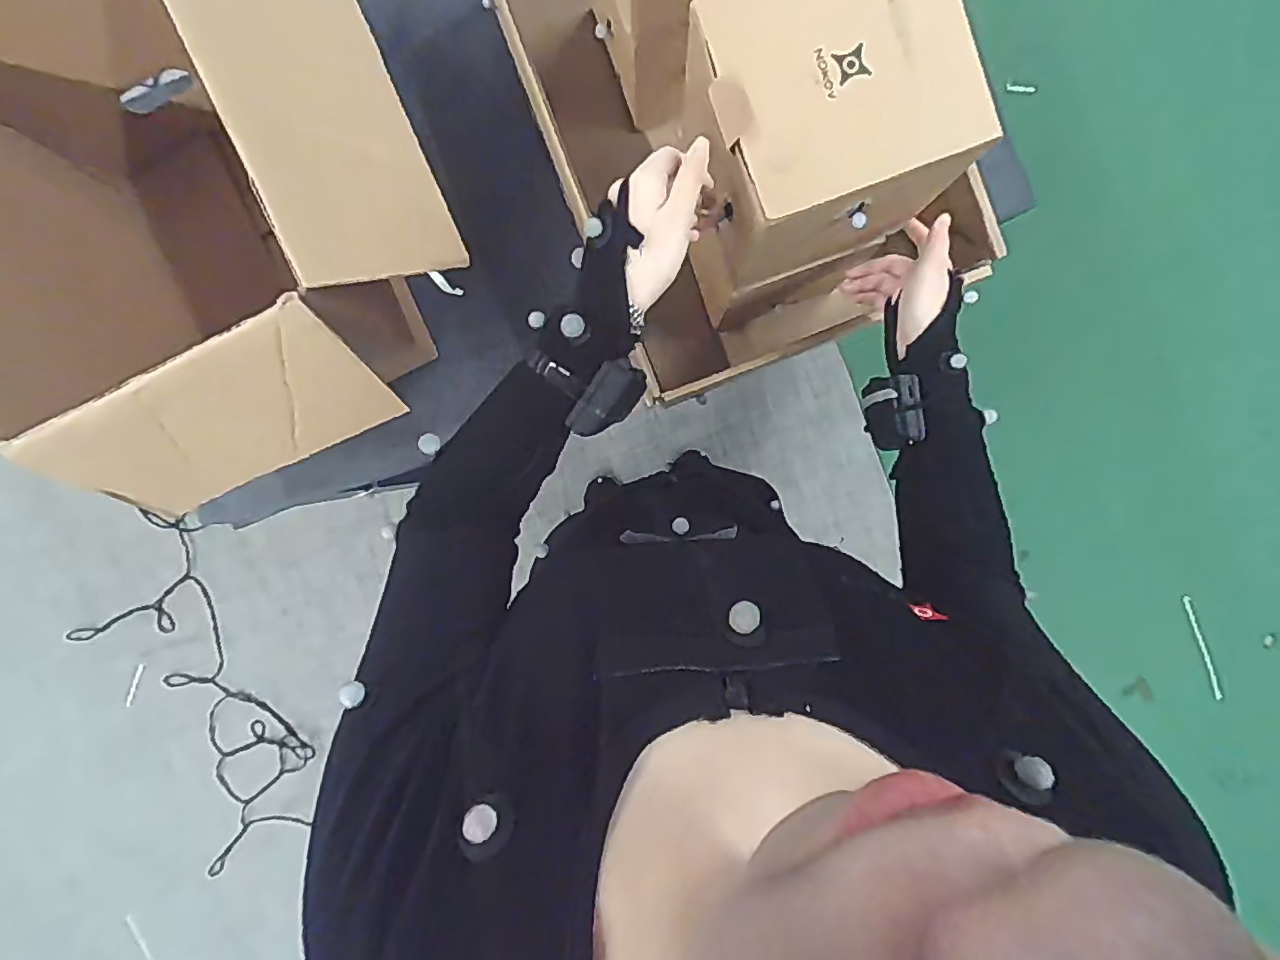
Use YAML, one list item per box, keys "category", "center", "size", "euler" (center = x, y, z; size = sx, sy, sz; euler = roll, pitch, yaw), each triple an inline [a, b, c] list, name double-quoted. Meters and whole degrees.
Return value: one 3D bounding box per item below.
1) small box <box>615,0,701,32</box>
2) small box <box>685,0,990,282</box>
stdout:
- category: "small box"
  center: [0.041, -0.531, 0.448]
  size: [0.179, 0.176, 0.168]
  euler: [-19, 94, 2]
- category: "small box"
  center: [0.144, -0.293, 0.462]
  size: [0.179, 0.176, 0.168]
  euler: [-19, 94, 2]
